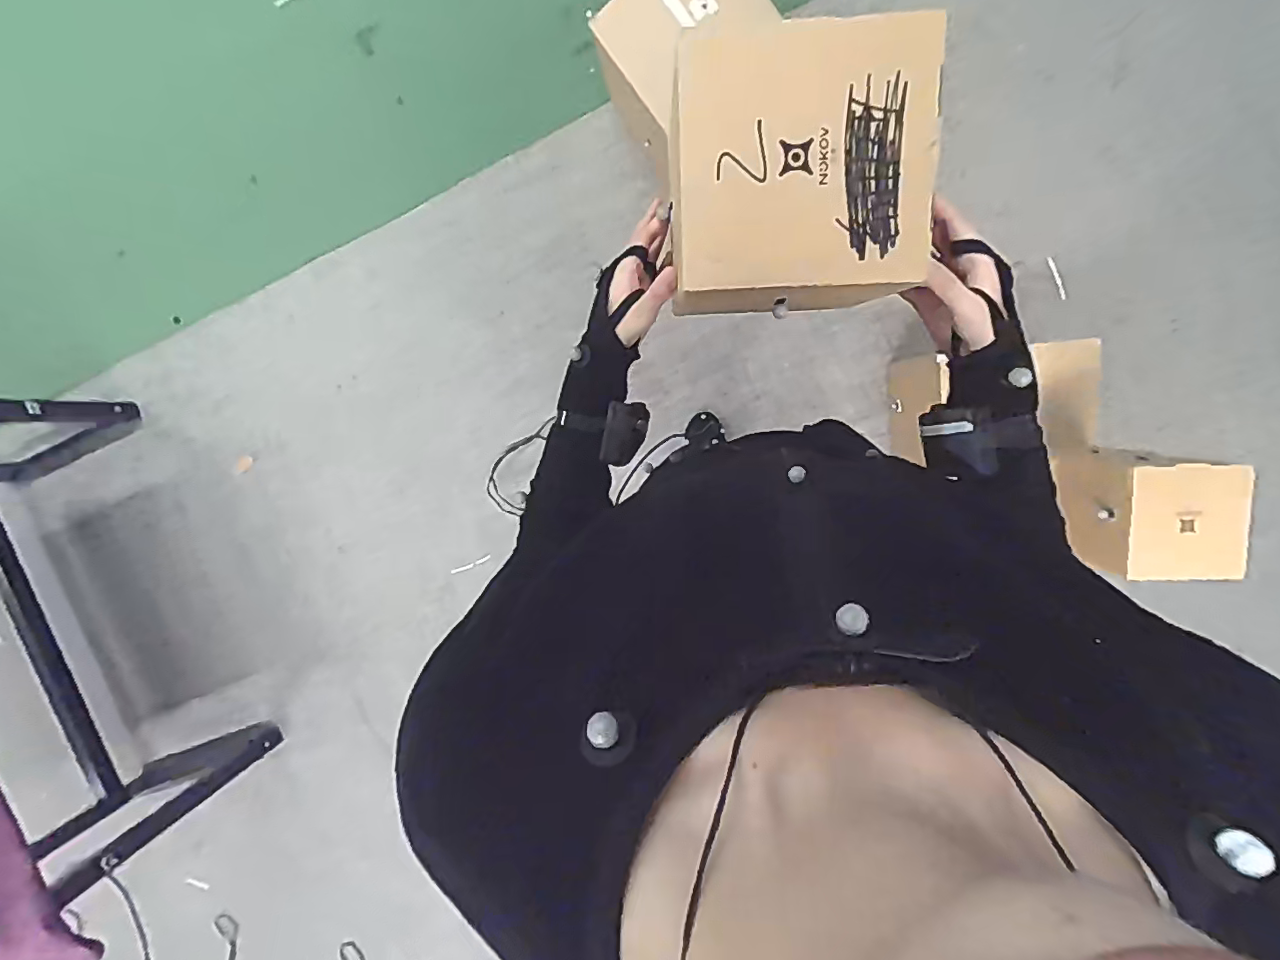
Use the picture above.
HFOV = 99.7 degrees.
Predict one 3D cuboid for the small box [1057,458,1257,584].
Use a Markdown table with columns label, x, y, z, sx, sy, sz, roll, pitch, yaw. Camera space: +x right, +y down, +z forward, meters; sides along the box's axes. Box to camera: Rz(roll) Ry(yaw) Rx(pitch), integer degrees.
| label | x | y | z | sx | sy | sz | roll | pitch | yaw |
| --- | --- | --- | --- | --- | --- | --- | --- | --- | --- |
| small box | 0.814 | 0.059 | 0.871 | 0.168 | 0.176 | 0.179 | -2 | 95 | 5 |

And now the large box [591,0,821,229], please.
| label | x | y | z | sx | sy | sz | roll | pitch | yaw |
| --- | --- | --- | --- | --- | --- | --- | --- | --- | --- |
| large box | 0.152 | -0.889 | 1.262 | 0.320 | 0.320 | 0.408 | -36 | 90 | 8 |

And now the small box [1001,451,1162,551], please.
| label | x | y | z | sx | sy | sz | roll | pitch | yaw |
| --- | --- | --- | --- | --- | --- | --- | --- | --- | --- |
| small box | 0.829 | 0.034 | 1.031 | 0.179 | 0.176 | 0.168 | -3 | 95 | 6 |
